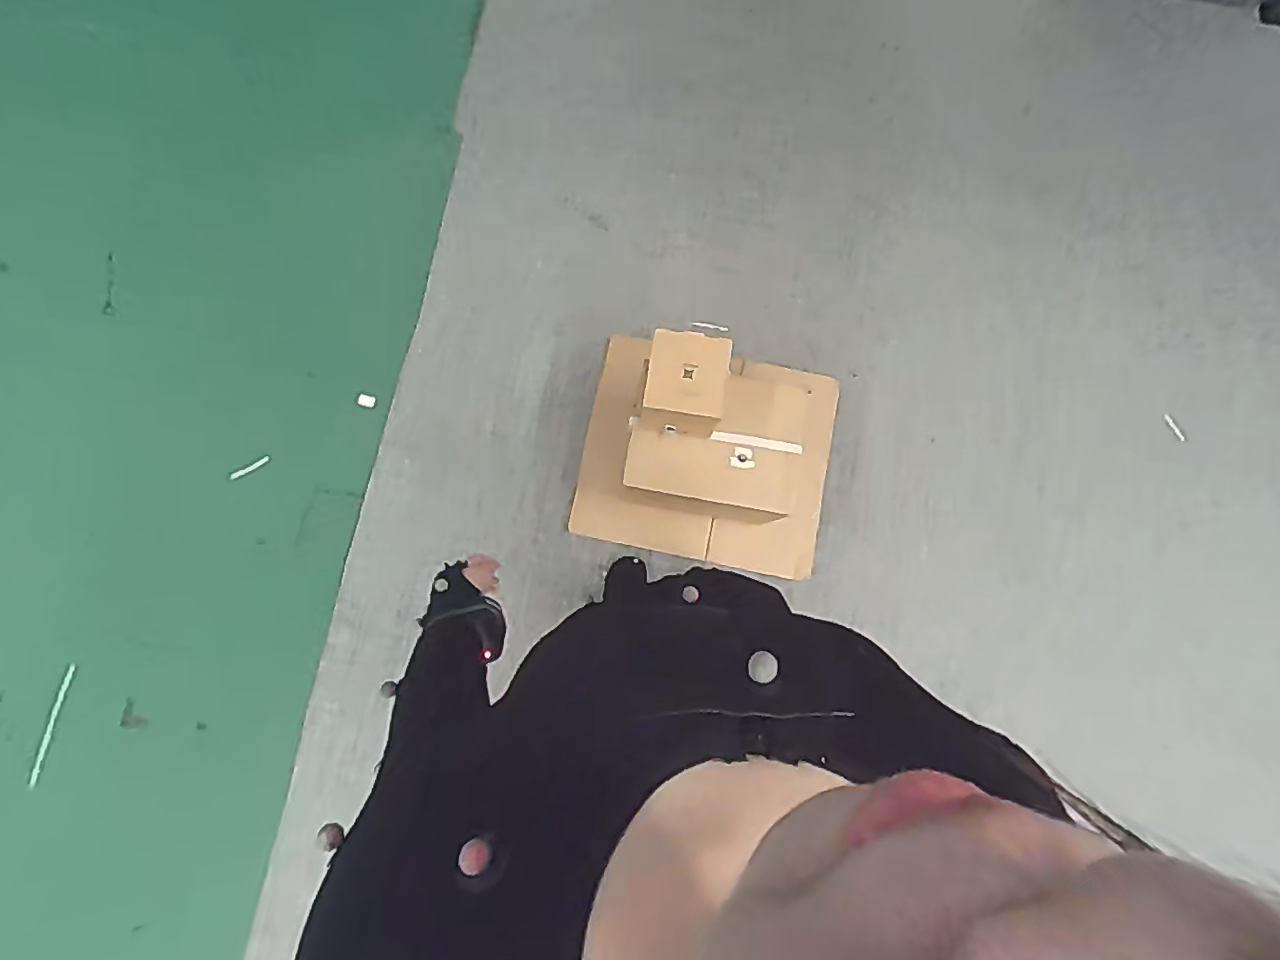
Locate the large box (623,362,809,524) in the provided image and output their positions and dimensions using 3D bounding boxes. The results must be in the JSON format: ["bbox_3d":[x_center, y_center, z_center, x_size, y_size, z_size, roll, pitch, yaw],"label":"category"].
[{"bbox_3d":[0.175,-0.079,1.402,0.408,0.320,0.320,10,81,-1],"label":"large box"}]

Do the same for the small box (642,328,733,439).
[{"bbox_3d":[0.098,-0.203,1.174,0.168,0.176,0.179,8,80,1],"label":"small box"}]
